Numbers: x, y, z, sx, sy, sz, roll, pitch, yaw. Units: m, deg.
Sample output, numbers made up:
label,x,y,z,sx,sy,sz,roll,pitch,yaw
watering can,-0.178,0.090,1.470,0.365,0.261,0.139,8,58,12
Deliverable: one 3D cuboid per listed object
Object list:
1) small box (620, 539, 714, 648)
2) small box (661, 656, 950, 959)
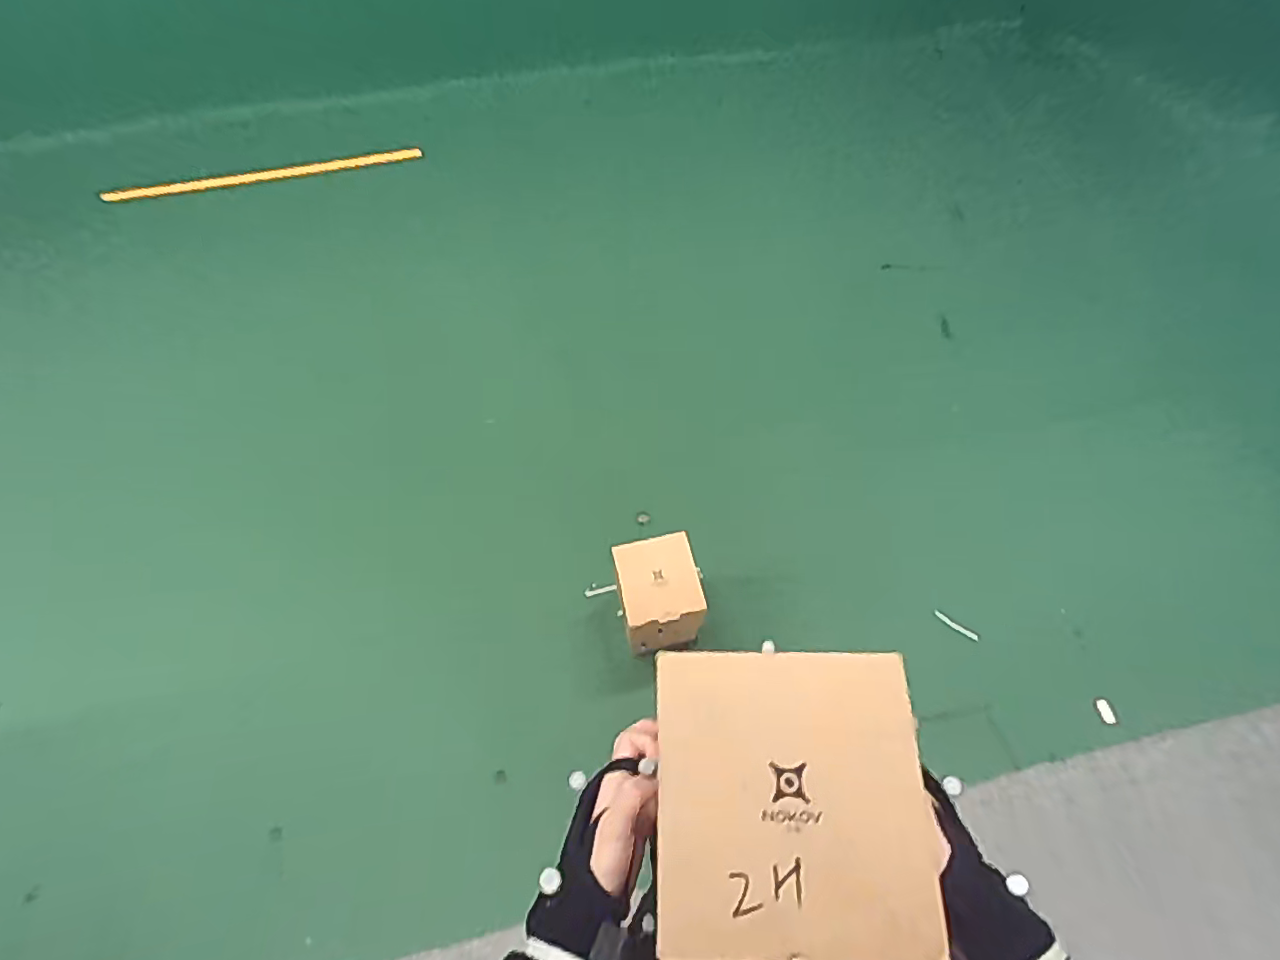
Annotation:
label,x,y,z,sx,sy,sz,roll,pitch,yaw
small box,0.053,0.256,1.199,0.168,0.176,0.179,-13,63,-6
small box,0.103,0.235,0.413,0.168,0.176,0.179,-2,67,7
